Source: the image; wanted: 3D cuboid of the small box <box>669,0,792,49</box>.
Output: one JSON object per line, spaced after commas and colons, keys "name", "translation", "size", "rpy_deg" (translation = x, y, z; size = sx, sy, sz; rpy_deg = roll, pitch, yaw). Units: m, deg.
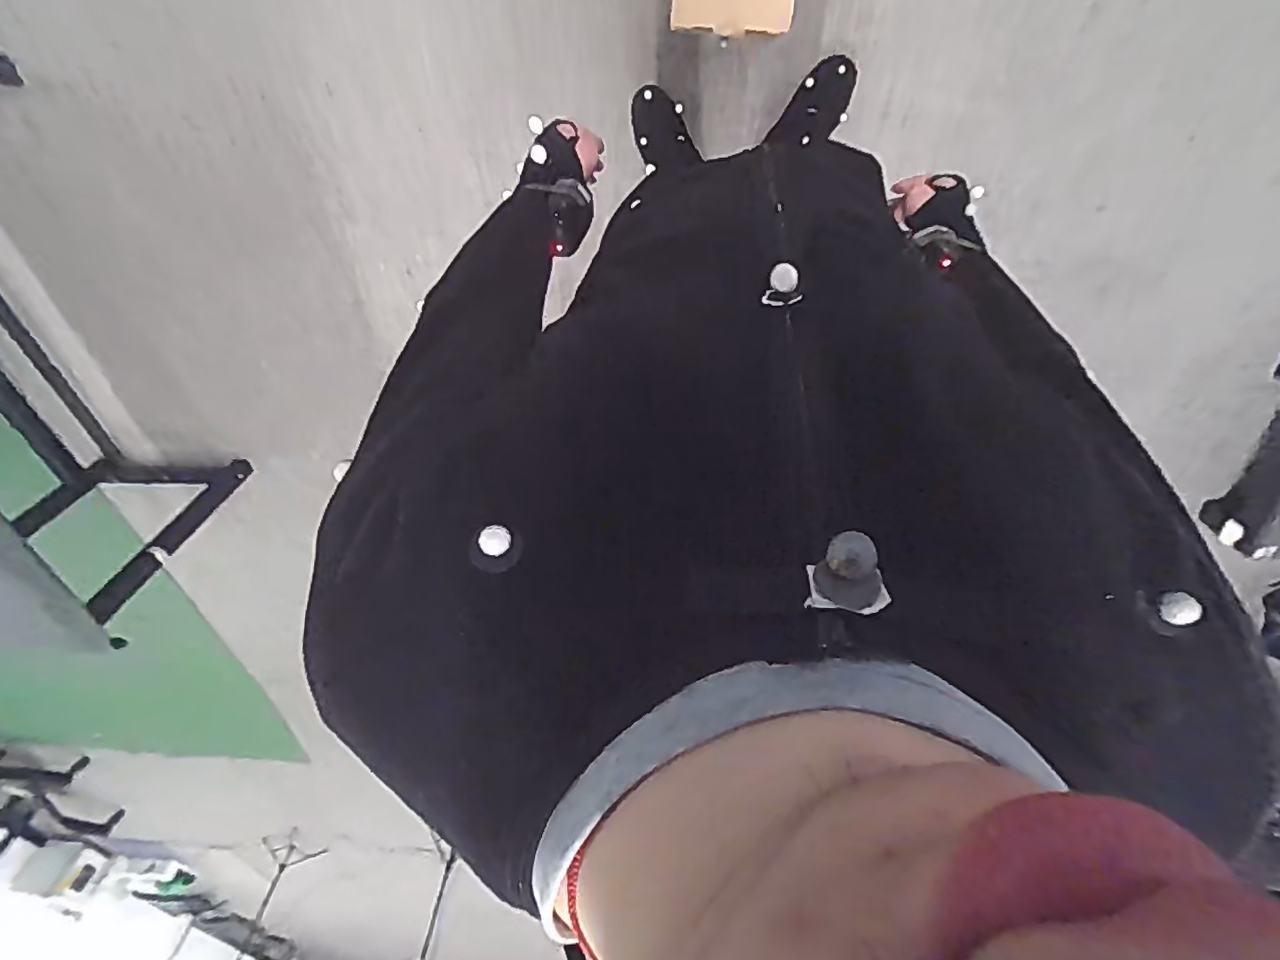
{"name": "small box", "translation": [0.135, -0.734, 0.767], "size": [0.168, 0.176, 0.179], "rpy_deg": [6, 129, 0]}
